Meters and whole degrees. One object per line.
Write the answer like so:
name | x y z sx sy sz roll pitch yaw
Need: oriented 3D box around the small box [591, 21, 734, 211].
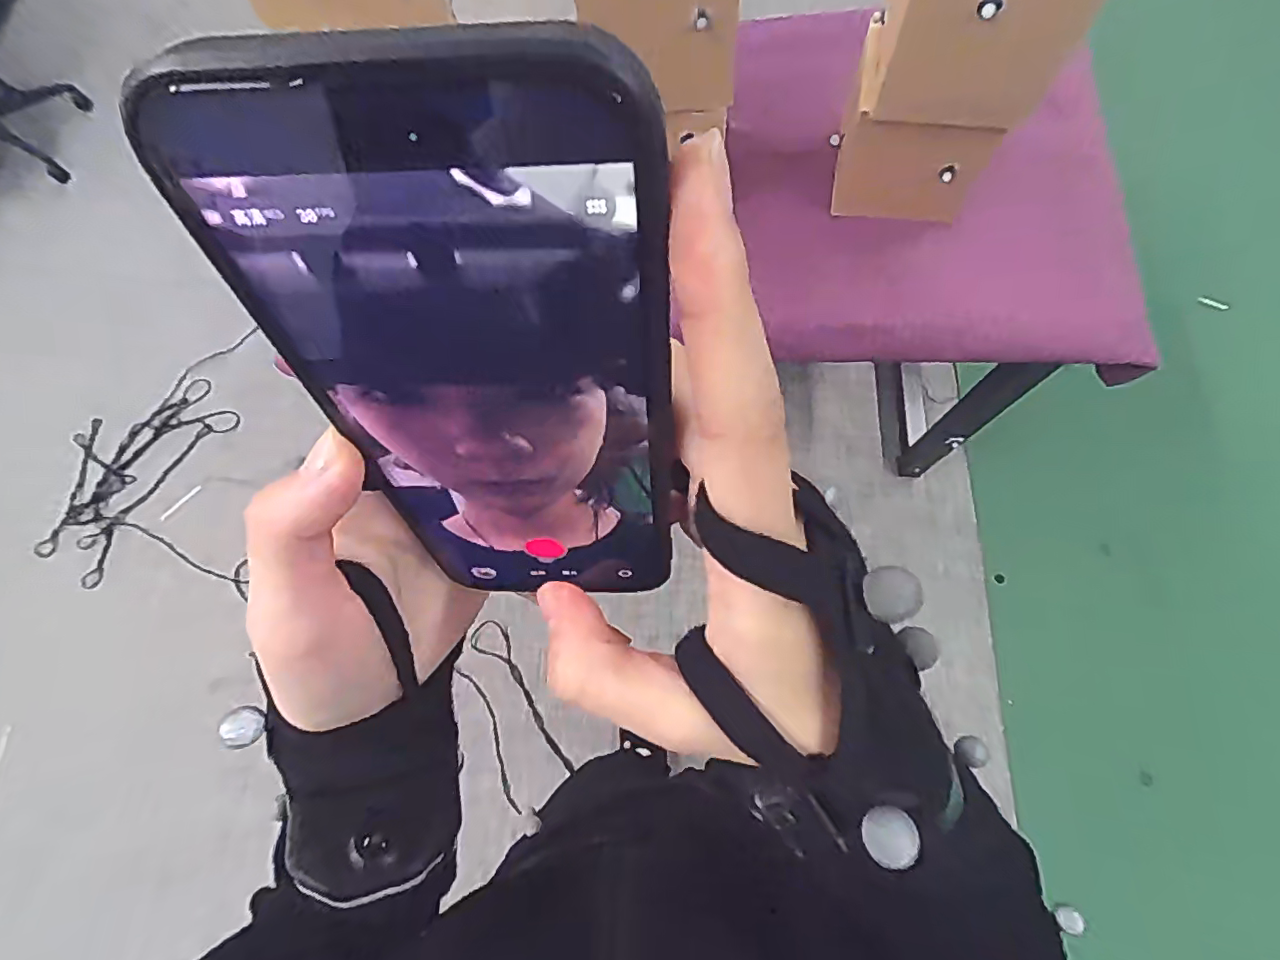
small box | 0.038 -0.517 0.785 0.179 0.176 0.168 4 73 7

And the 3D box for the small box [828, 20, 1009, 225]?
small box | 0.374 -0.478 0.740 0.179 0.176 0.168 10 74 10

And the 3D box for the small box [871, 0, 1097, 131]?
small box | 0.364 -0.511 0.579 0.179 0.176 0.168 10 74 8

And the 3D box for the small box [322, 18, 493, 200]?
small box | -0.346 -0.565 0.842 0.168 0.176 0.179 5 73 7

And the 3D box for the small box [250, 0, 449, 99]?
small box | -0.361 -0.621 0.688 0.168 0.176 0.179 0 74 5
